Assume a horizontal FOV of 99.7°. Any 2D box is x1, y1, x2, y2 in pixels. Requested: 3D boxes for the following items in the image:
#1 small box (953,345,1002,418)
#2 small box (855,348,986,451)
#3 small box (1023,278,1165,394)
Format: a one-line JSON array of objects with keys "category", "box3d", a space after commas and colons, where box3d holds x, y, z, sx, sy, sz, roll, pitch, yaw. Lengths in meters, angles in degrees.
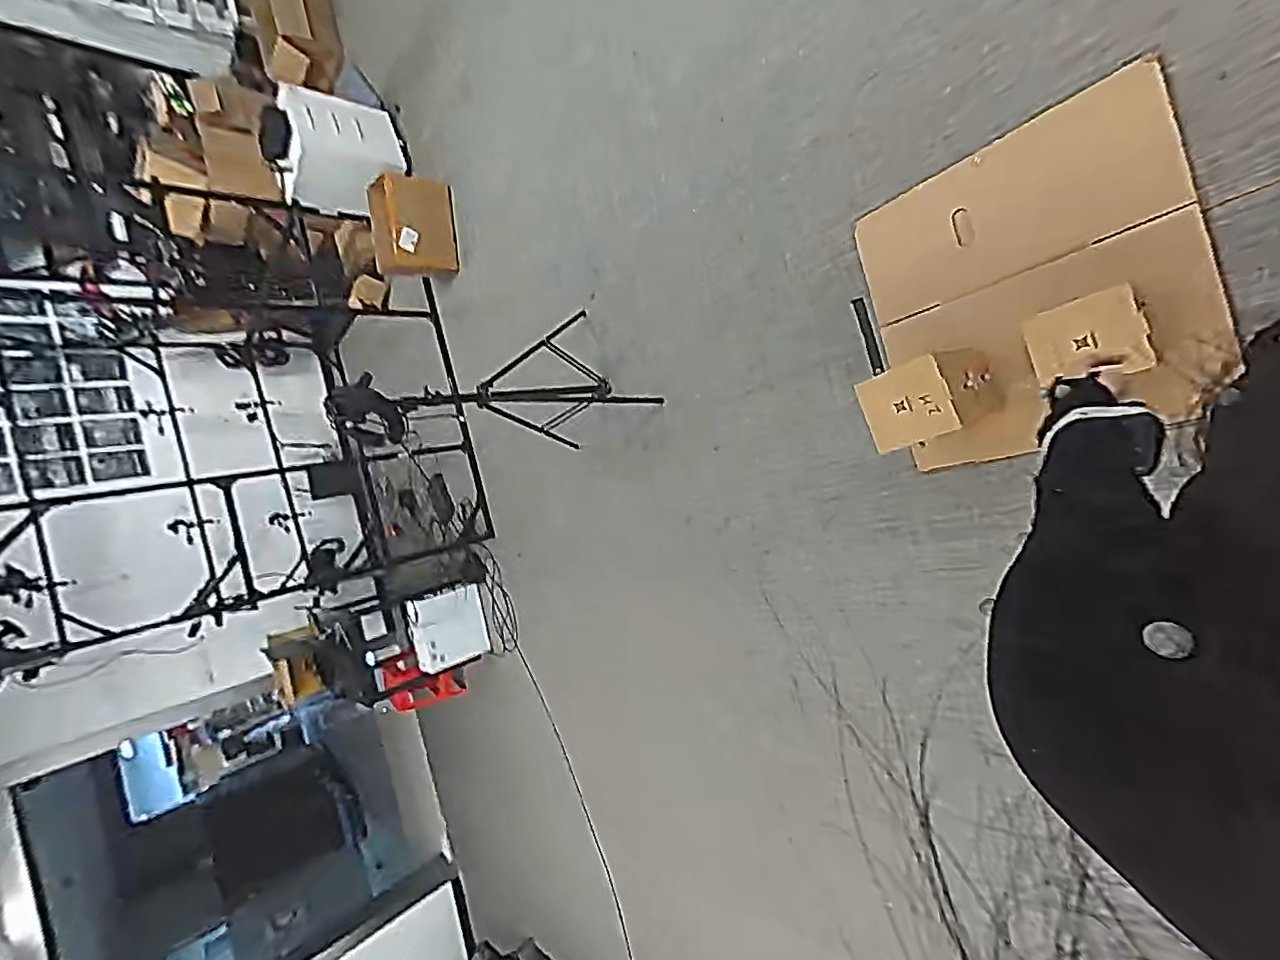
[{"category": "small box", "box3d": [0.726, -0.209, 1.281, 0.179, 0.176, 0.168, -27, 81, 47]}, {"category": "small box", "box3d": [0.608, -0.175, 1.171, 0.179, 0.176, 0.168, -24, 83, 48]}, {"category": "small box", "box3d": [0.903, -0.281, 1.073, 0.179, 0.176, 0.168, -20, 85, 48]}]
